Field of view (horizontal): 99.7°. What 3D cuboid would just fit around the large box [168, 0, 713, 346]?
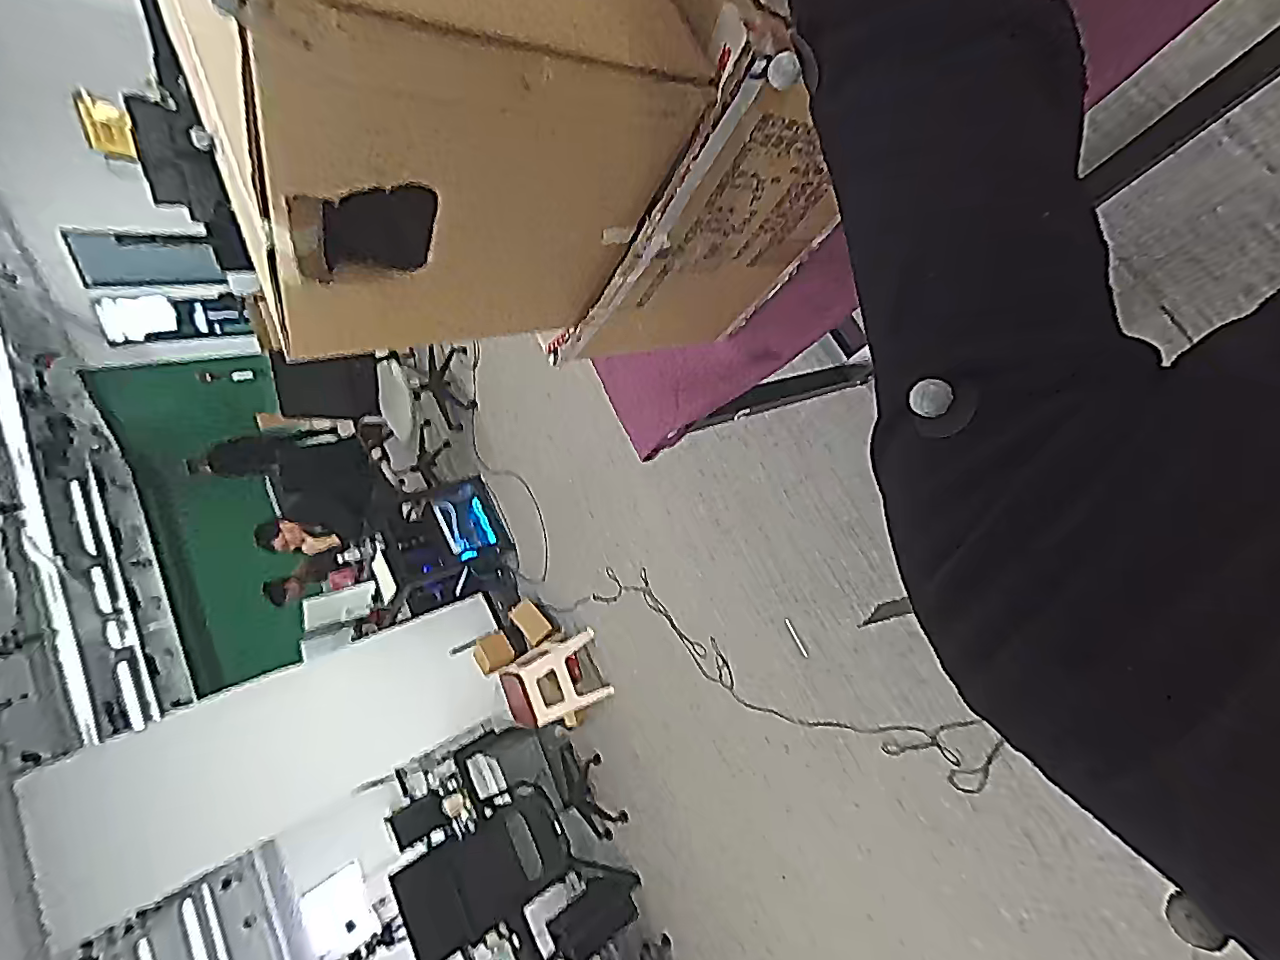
[{"bbox_3d":[-0.208,-0.391,0.489,0.408,0.320,0.320,63,146,11],"label":"large box"}]
